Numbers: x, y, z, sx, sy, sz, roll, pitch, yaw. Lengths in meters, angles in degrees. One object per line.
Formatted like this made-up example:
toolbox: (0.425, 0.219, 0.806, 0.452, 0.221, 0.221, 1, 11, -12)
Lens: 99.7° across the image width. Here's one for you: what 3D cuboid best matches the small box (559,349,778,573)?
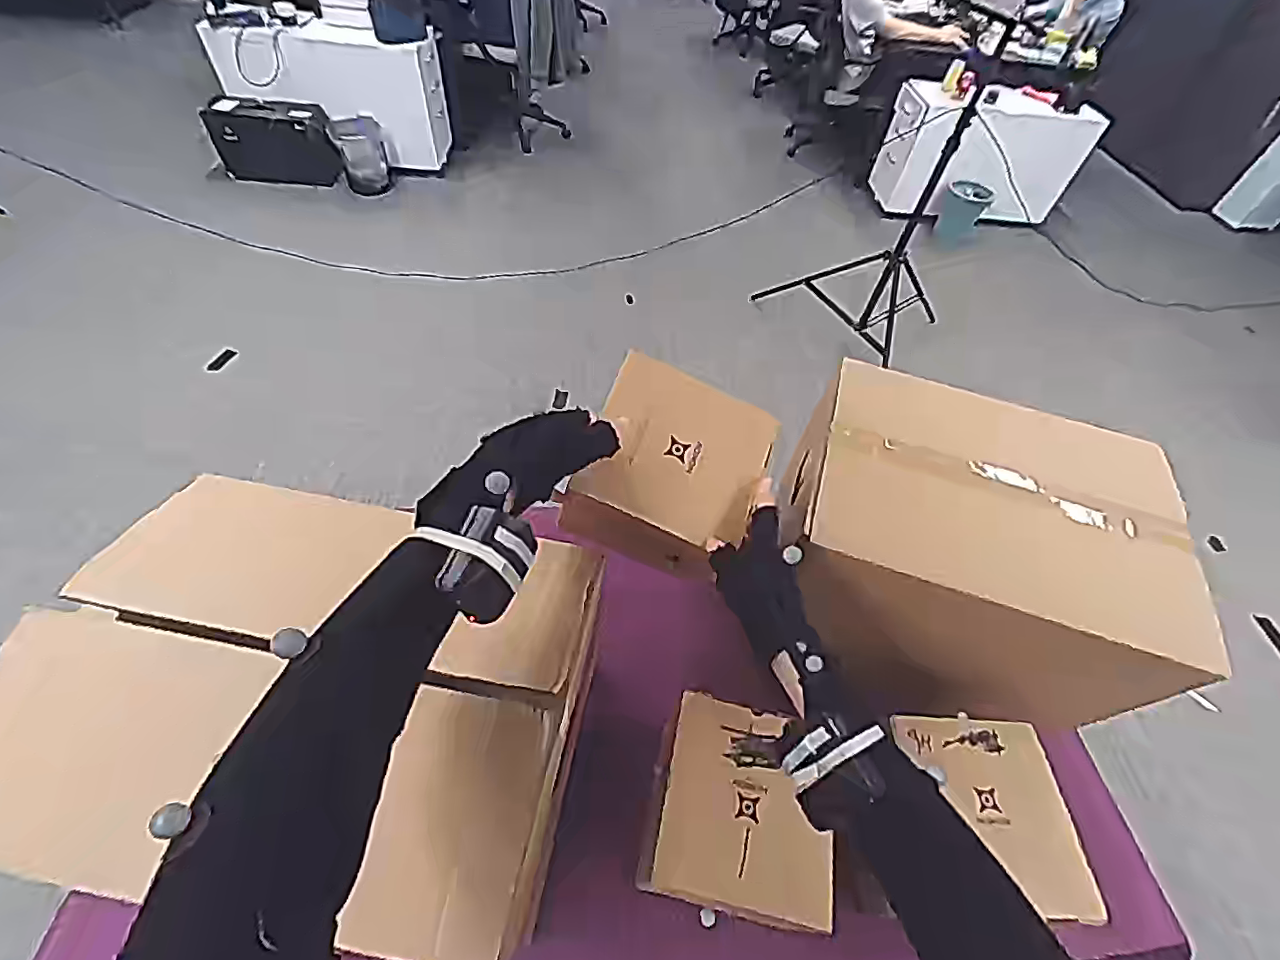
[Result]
small box: (0.023, -0.007, 0.604, 0.179, 0.176, 0.168, 24, 67, -3)
